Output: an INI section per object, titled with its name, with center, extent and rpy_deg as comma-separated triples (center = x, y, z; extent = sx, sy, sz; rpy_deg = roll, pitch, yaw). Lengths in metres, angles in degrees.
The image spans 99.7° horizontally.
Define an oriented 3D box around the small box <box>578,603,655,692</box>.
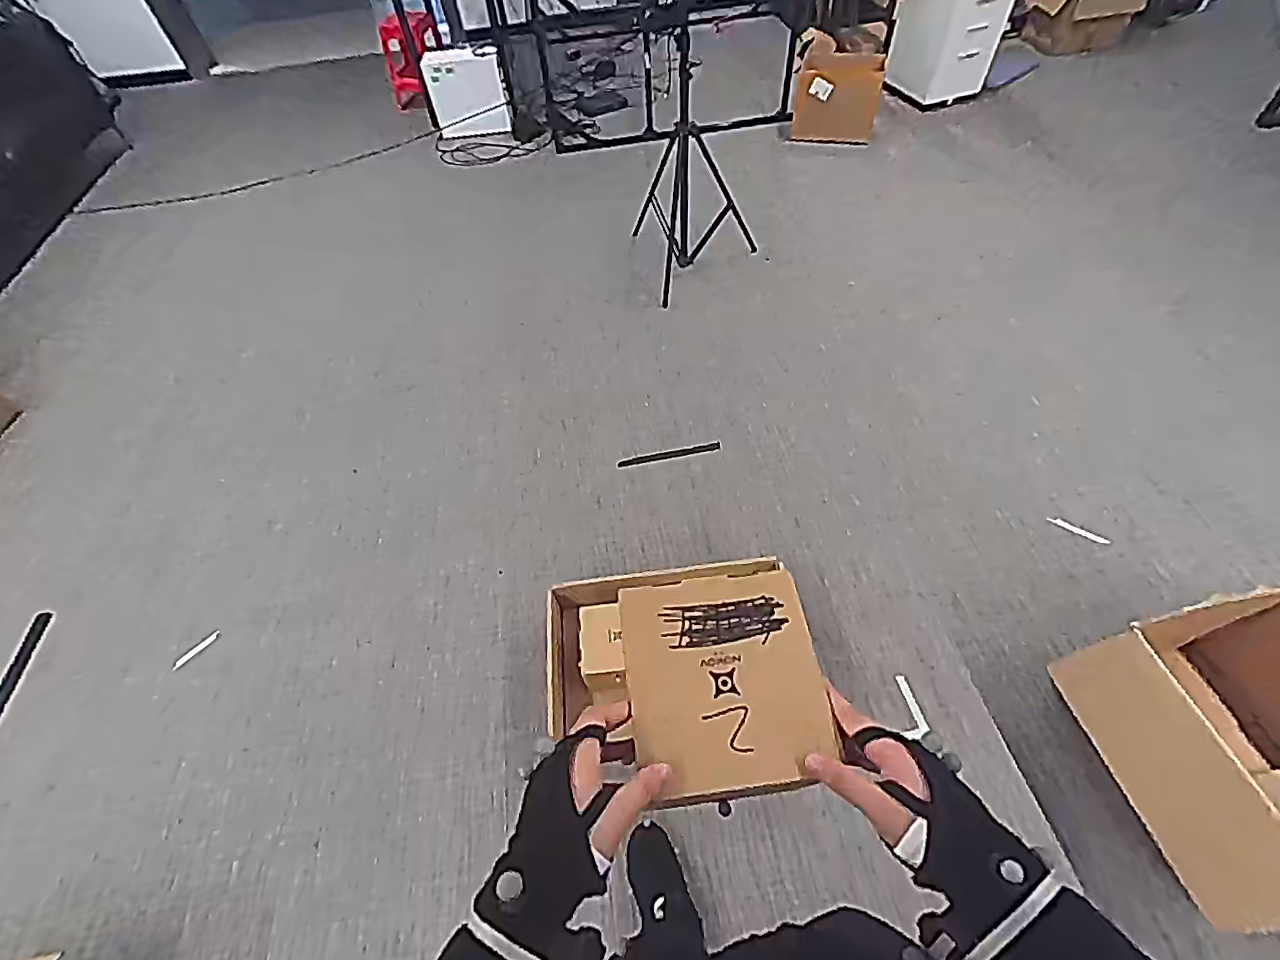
[small box]
center = -0.057, 0.427, 1.367
extent = 0.179, 0.176, 0.168
rpy_deg = -6, 56, -2
